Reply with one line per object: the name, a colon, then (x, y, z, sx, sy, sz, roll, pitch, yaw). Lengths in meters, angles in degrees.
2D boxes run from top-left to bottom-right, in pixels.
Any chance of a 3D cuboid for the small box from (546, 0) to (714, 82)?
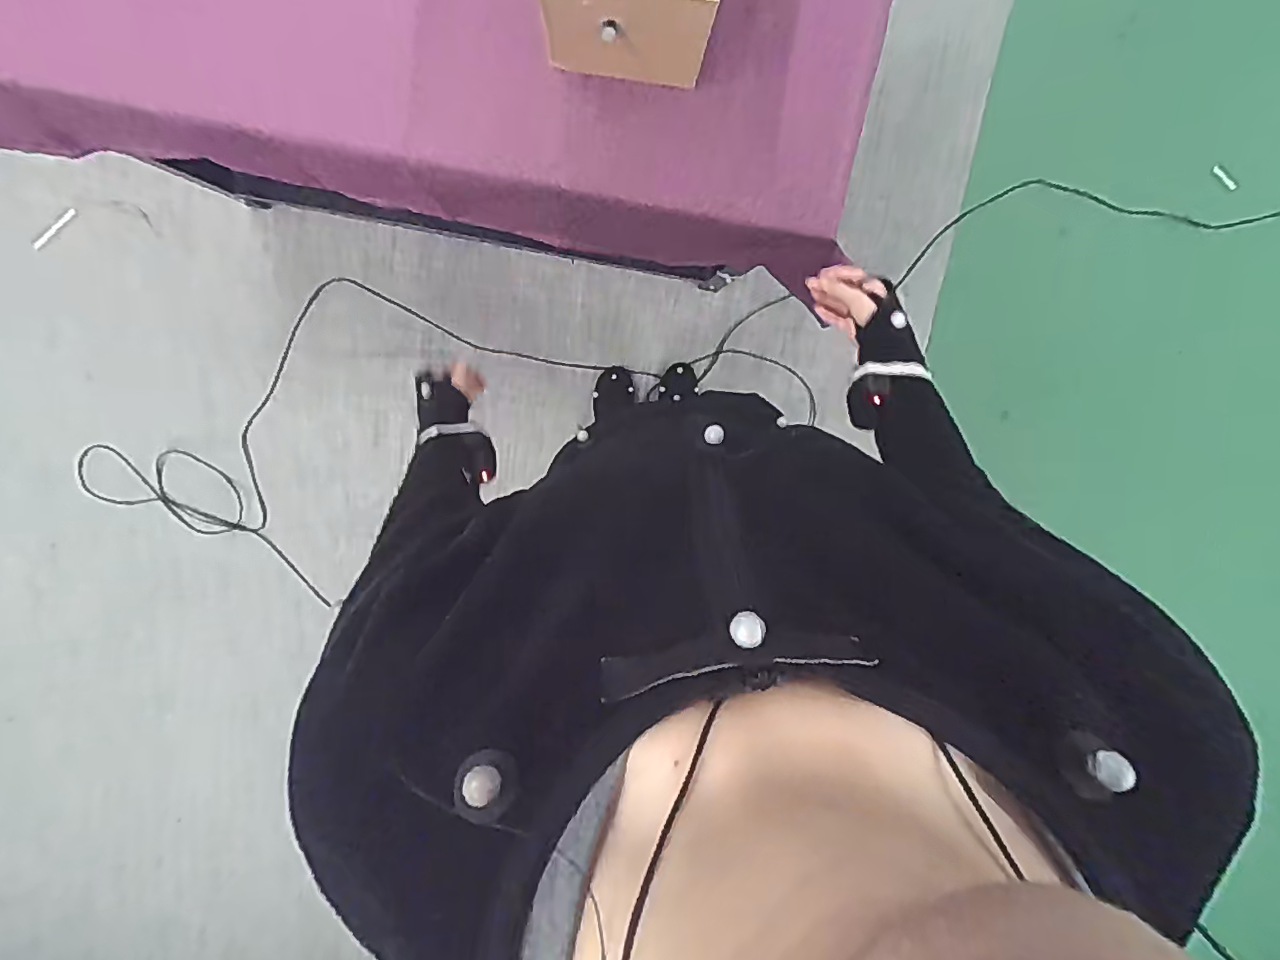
small box: (-0.006, -0.551, 0.560, 0.179, 0.176, 0.168, 6, 101, -3)
